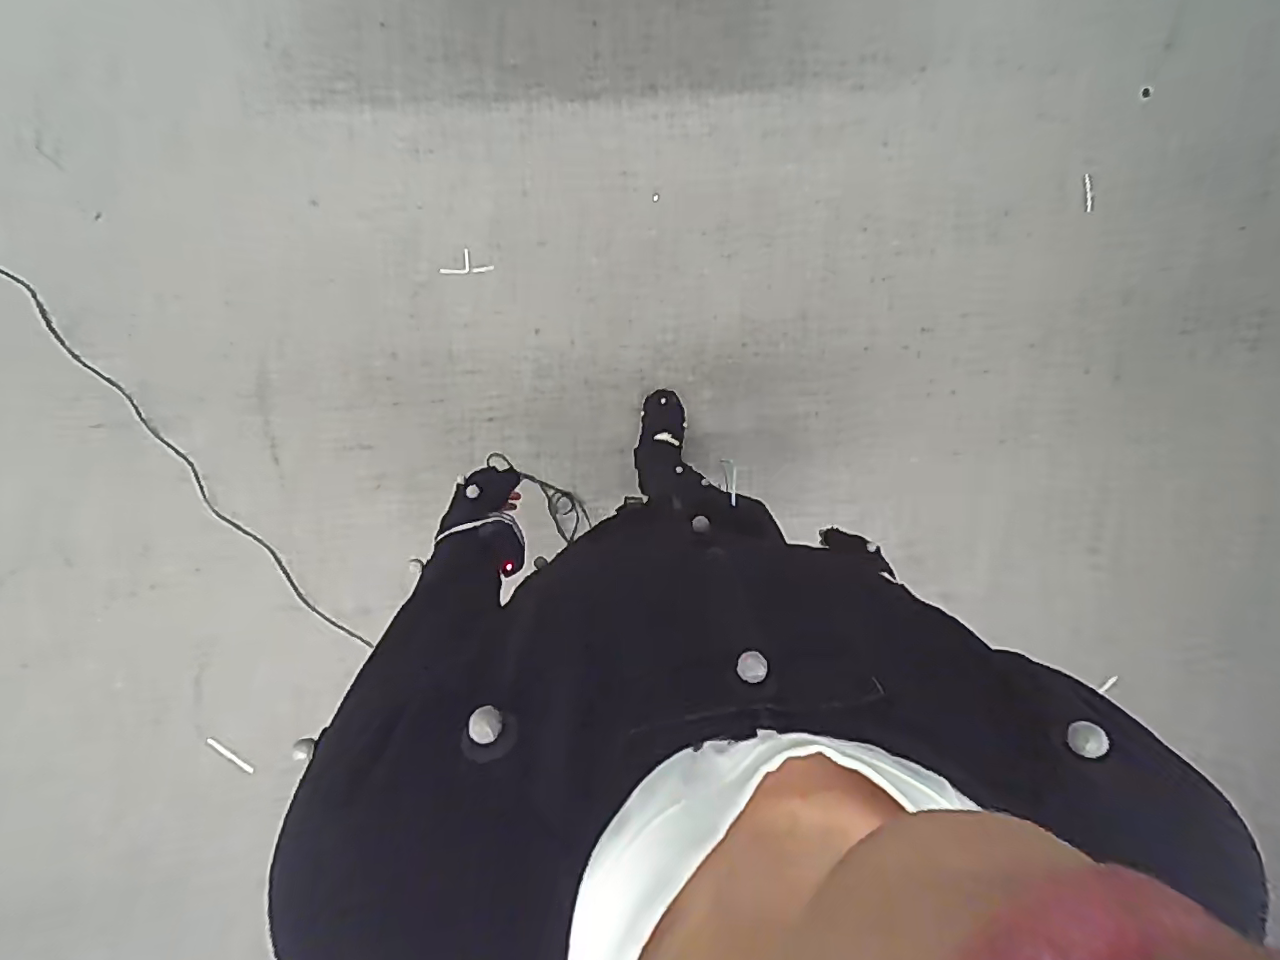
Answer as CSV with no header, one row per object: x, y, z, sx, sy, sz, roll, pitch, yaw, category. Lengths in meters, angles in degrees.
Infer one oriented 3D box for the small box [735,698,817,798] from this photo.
0.351,0.695,1.416,0.168,0.176,0.179,-2,91,-5,small box
